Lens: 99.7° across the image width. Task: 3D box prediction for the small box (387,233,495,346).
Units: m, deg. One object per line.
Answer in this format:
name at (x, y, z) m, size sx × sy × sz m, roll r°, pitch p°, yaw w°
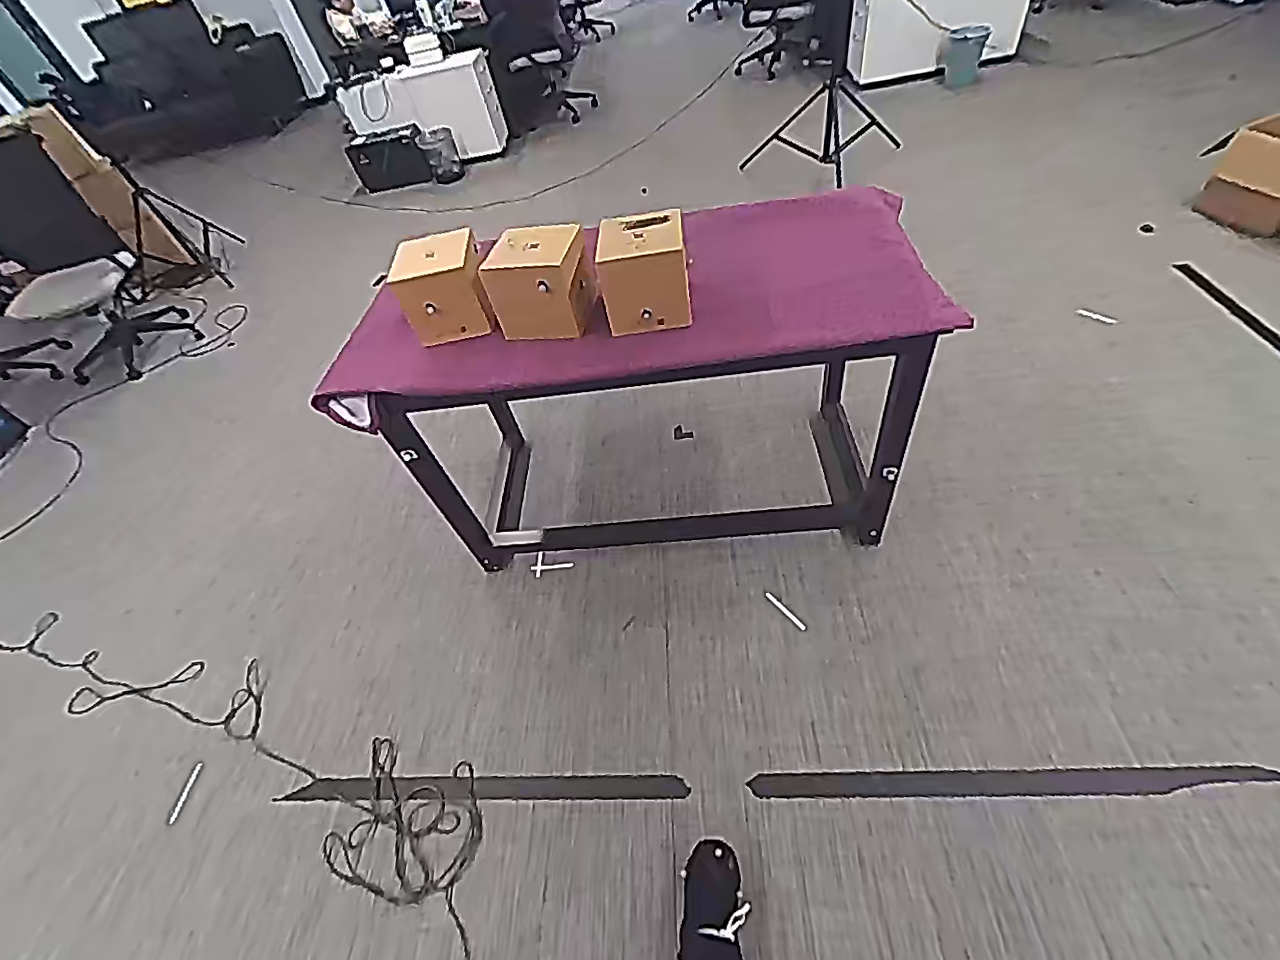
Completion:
small box at (-0.435, -0.419, 1.215) m, size 0.168 × 0.176 × 0.179 m, roll -12°, pitch 49°, yaw 2°
